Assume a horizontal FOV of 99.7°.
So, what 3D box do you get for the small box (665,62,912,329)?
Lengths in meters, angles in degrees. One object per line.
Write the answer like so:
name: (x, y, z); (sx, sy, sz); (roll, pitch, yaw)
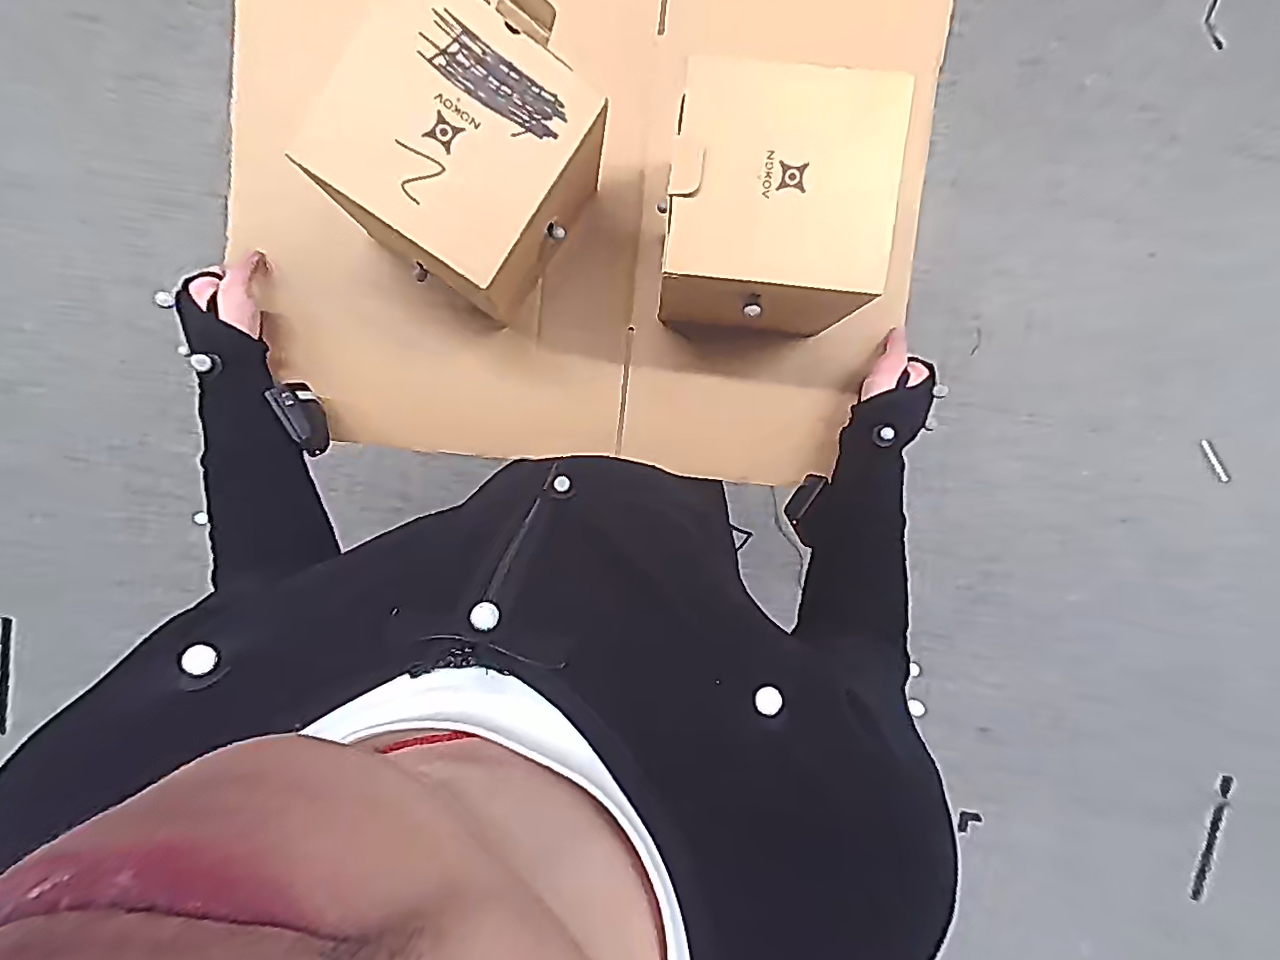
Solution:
small box: (0.120, -0.245, 0.510); (0.179, 0.176, 0.168); (6, 95, 1)
